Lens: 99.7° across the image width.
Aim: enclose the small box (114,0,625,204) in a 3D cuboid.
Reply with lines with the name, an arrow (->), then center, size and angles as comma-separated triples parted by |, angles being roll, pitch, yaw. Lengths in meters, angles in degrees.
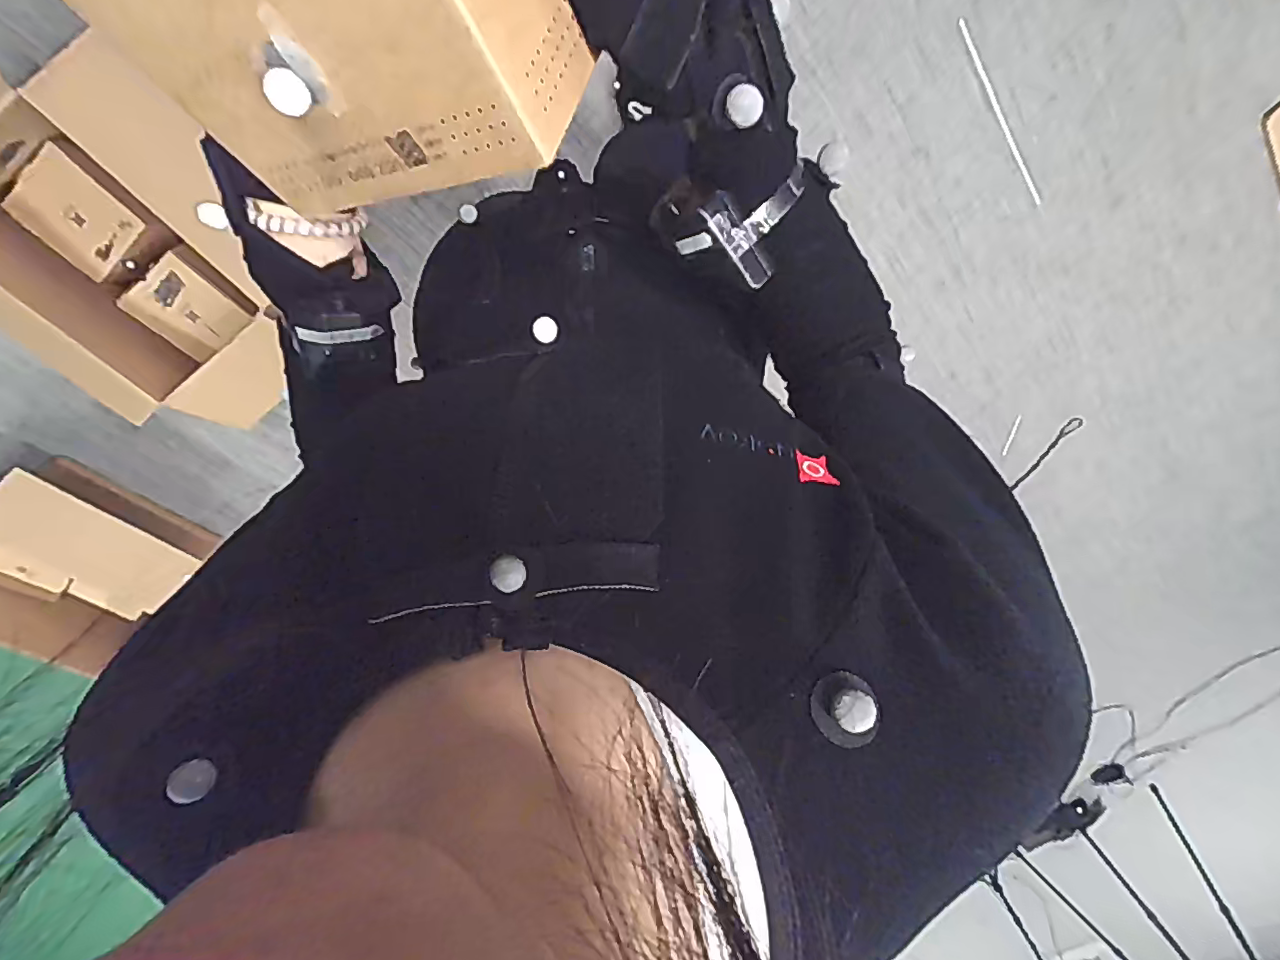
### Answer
small box -> -0.110, -0.244, 0.208 | 0.168, 0.179, 0.176 | 6, 159, 27
